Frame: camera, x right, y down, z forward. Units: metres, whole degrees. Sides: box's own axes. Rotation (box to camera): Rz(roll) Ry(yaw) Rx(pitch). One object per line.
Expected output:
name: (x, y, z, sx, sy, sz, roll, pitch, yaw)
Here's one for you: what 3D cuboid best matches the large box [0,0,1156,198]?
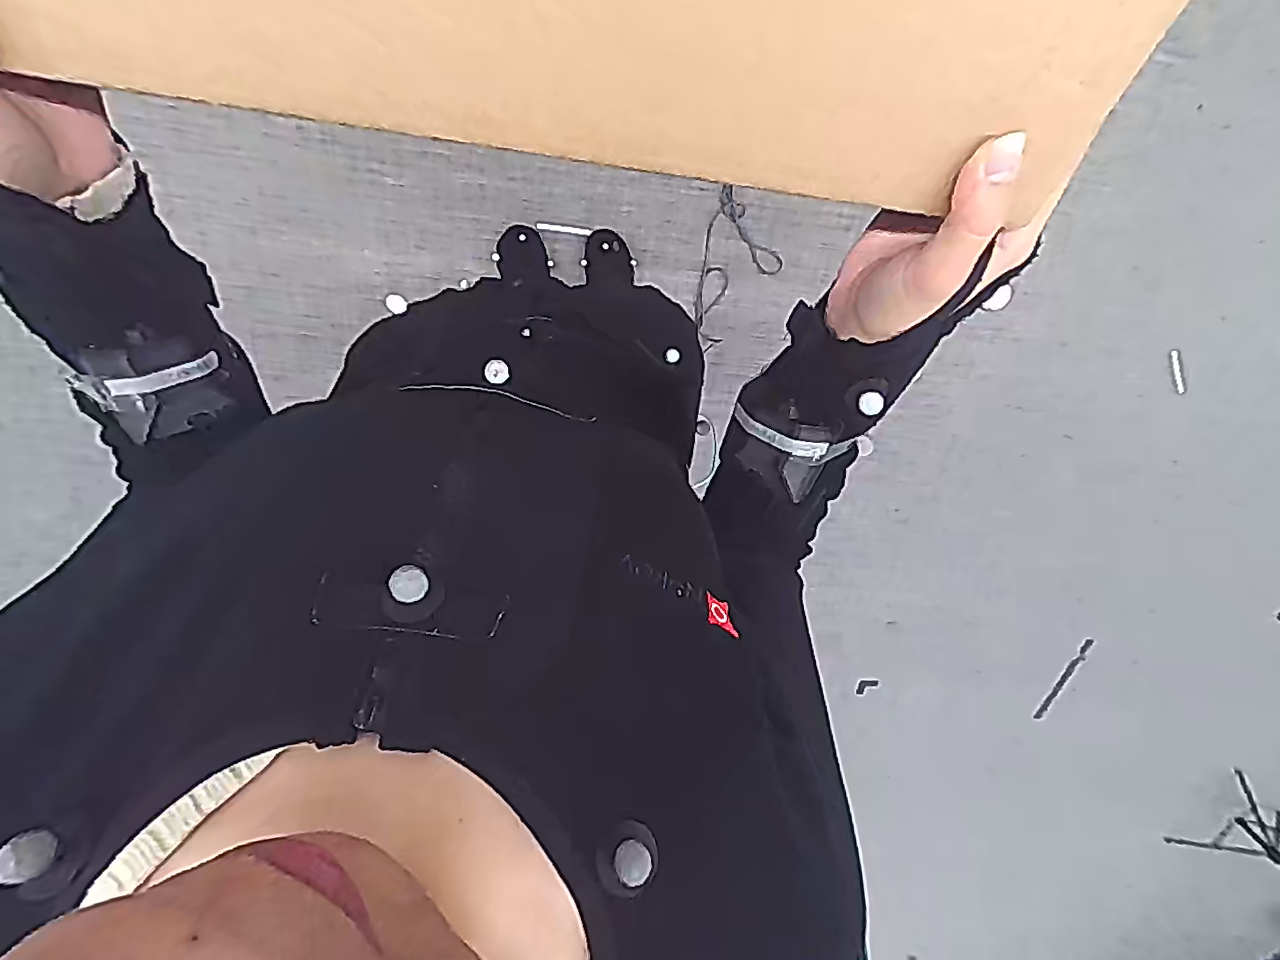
large box: (-0.023, -0.339, 0.184, 0.408, 0.320, 0.320, 5, 141, -6)
